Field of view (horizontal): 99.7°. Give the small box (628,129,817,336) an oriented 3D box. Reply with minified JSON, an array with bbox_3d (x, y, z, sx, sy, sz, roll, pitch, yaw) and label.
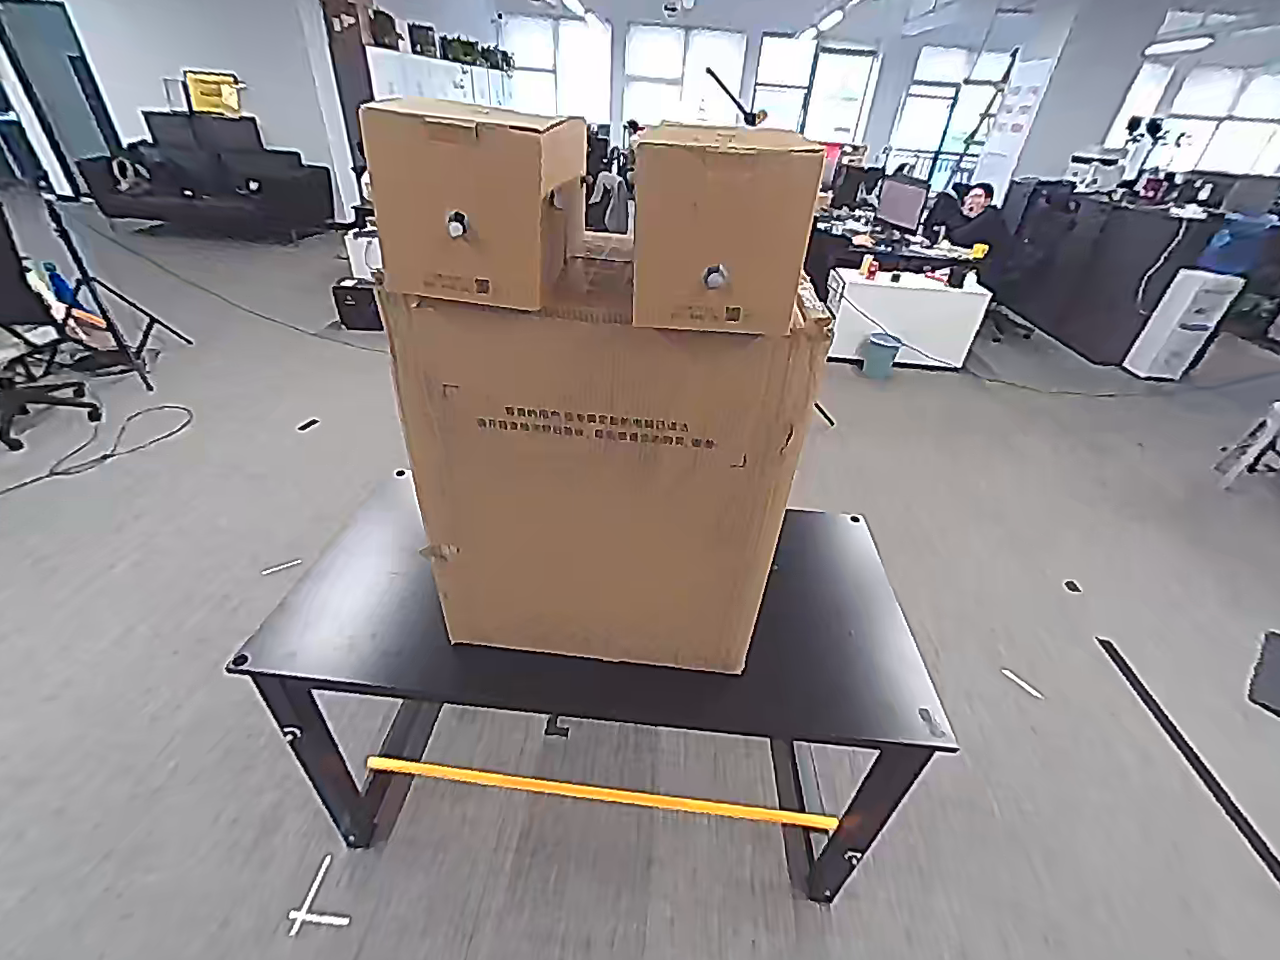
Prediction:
[{"bbox_3d":[0.077,-0.271,0.584,0.168,0.176,0.179,3,37,3],"label":"small box"}]

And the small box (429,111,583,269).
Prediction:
[{"bbox_3d":[-0.174,-0.408,0.758,0.168,0.176,0.179,4,34,1],"label":"small box"}]
